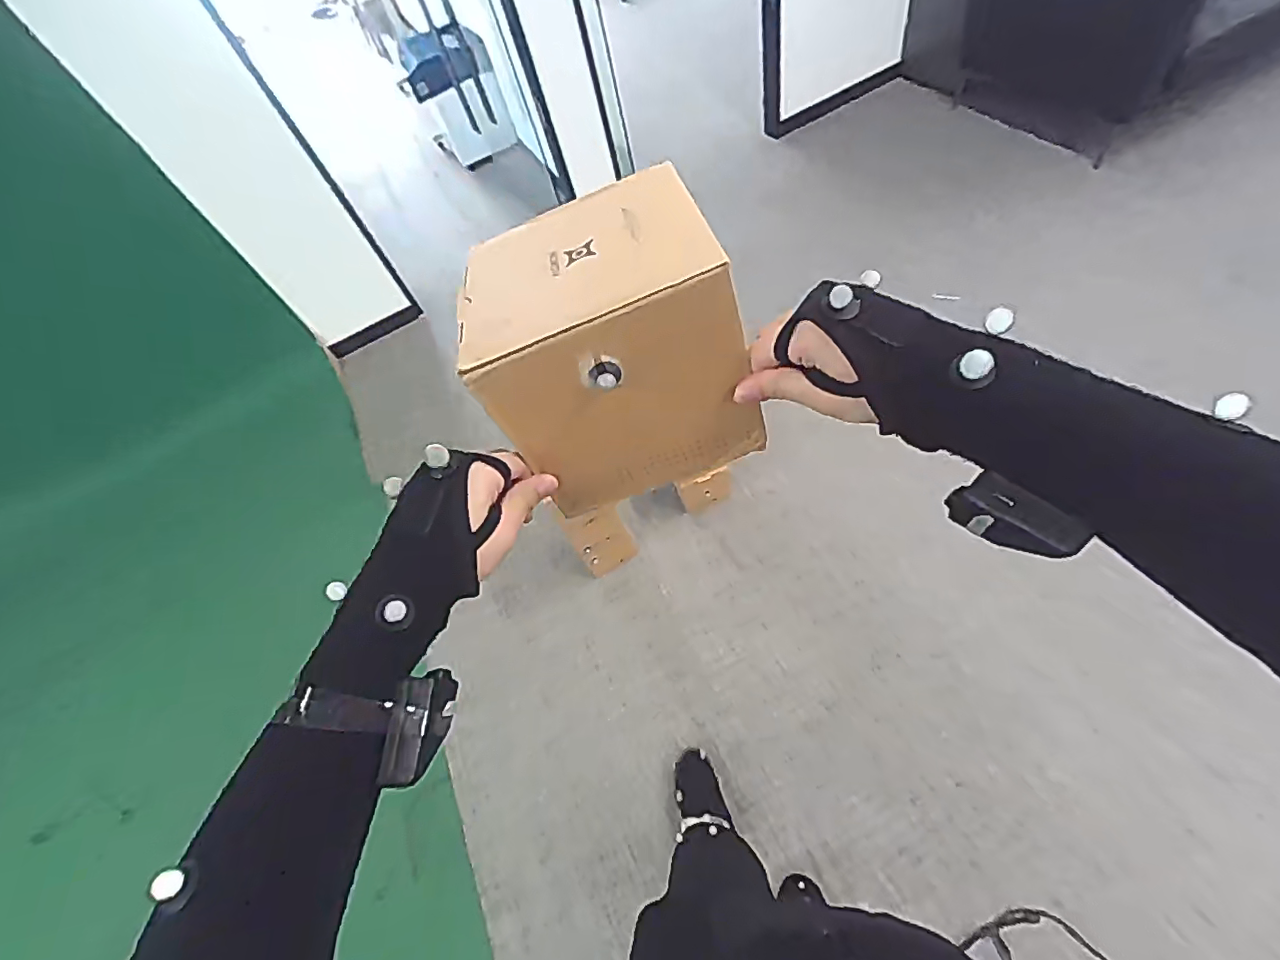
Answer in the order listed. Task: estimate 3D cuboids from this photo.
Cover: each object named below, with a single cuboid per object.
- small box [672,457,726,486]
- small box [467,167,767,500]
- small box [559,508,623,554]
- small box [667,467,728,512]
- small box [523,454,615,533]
[{"bbox_3d":[0.160,-0.112,1.685,0.179,0.176,0.168,-24,54,-2],"label":"small box"},{"bbox_3d":[-0.014,-0.109,0.437,0.179,0.176,0.168,-19,47,7],"label":"small box"},{"bbox_3d":[-0.168,0.101,1.623,0.168,0.176,0.179,-30,54,-7],"label":"small box"},{"bbox_3d":[0.187,-0.014,1.812,0.168,0.176,0.179,-22,56,-2],"label":"small box"},{"bbox_3d":[-0.191,0.016,1.483,0.179,0.176,0.168,-29,55,-7],"label":"small box"}]
